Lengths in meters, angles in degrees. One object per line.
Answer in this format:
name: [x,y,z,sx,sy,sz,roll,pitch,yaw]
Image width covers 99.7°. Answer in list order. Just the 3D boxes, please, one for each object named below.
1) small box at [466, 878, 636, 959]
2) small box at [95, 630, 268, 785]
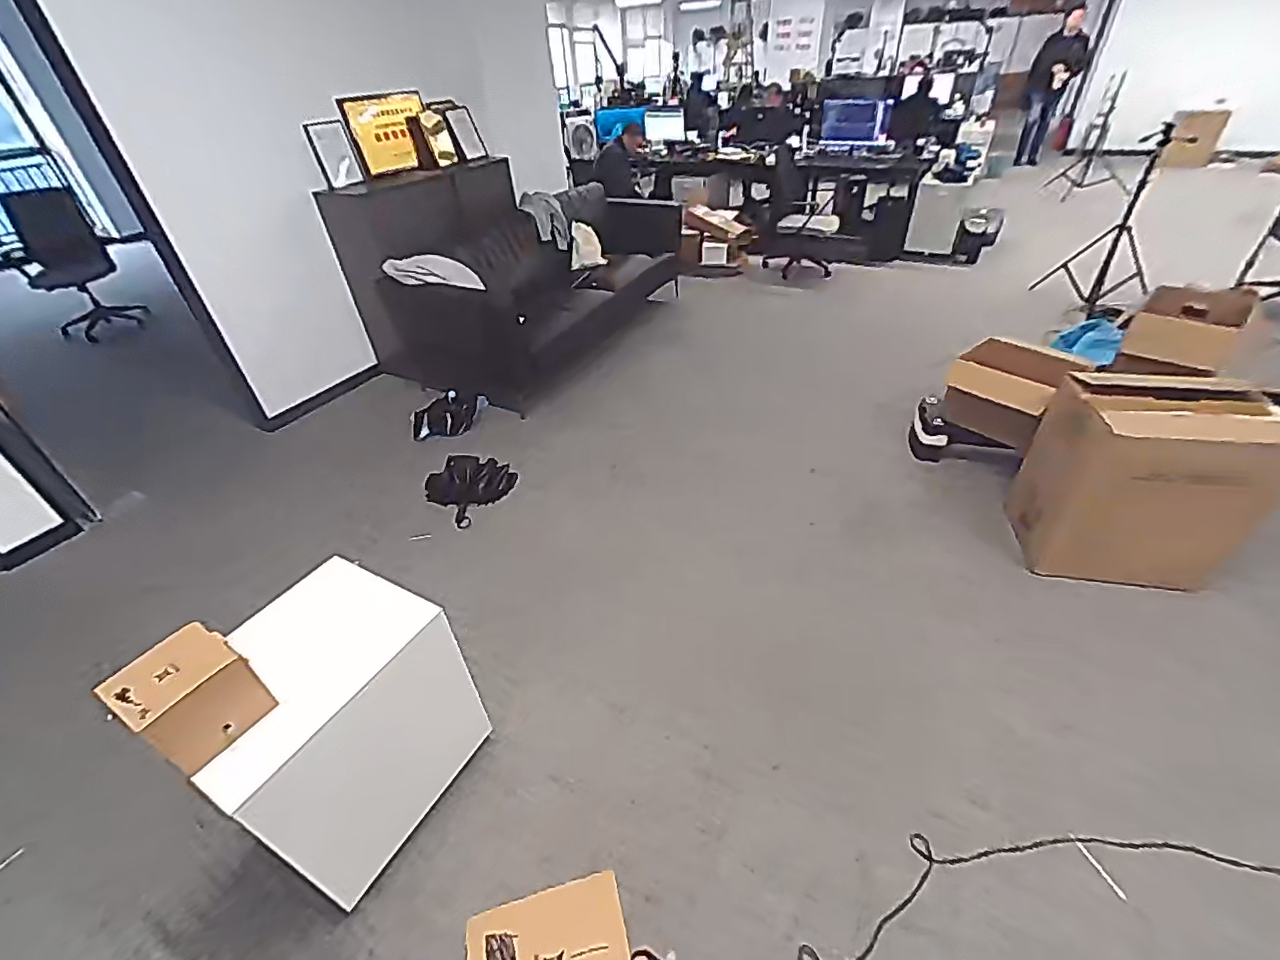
small box: [-0.081,0.582,0.569,0.179,0.176,0.168,-11,15,-10]
small box: [-0.847,0.427,1.023,0.168,0.176,0.179,17,40,26]
